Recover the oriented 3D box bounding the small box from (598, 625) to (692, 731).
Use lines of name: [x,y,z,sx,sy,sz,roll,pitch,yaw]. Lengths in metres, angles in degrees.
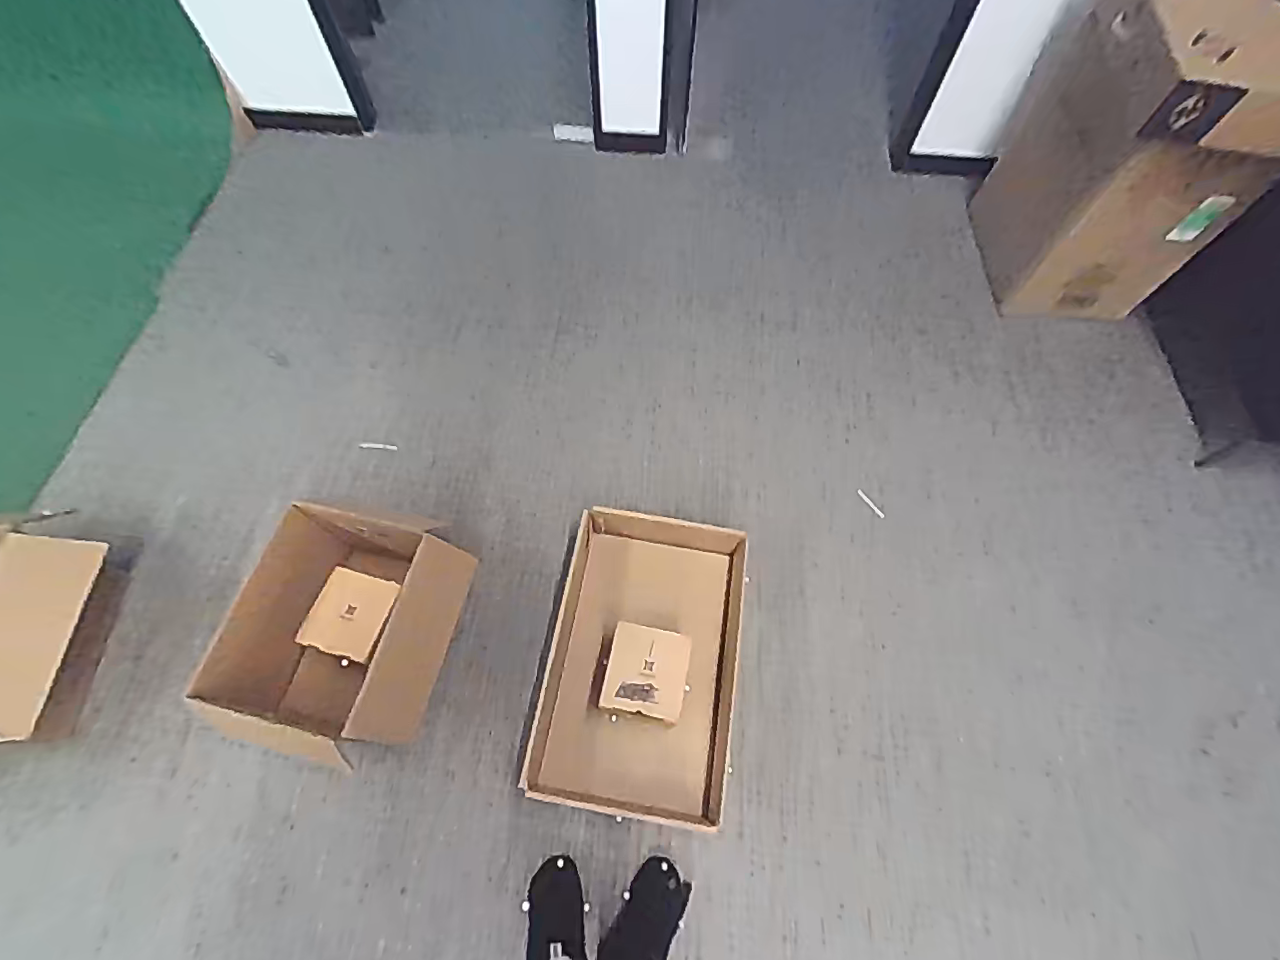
small box: [0.012,0.437,1.180,0.168,0.176,0.179,12,62,4]
